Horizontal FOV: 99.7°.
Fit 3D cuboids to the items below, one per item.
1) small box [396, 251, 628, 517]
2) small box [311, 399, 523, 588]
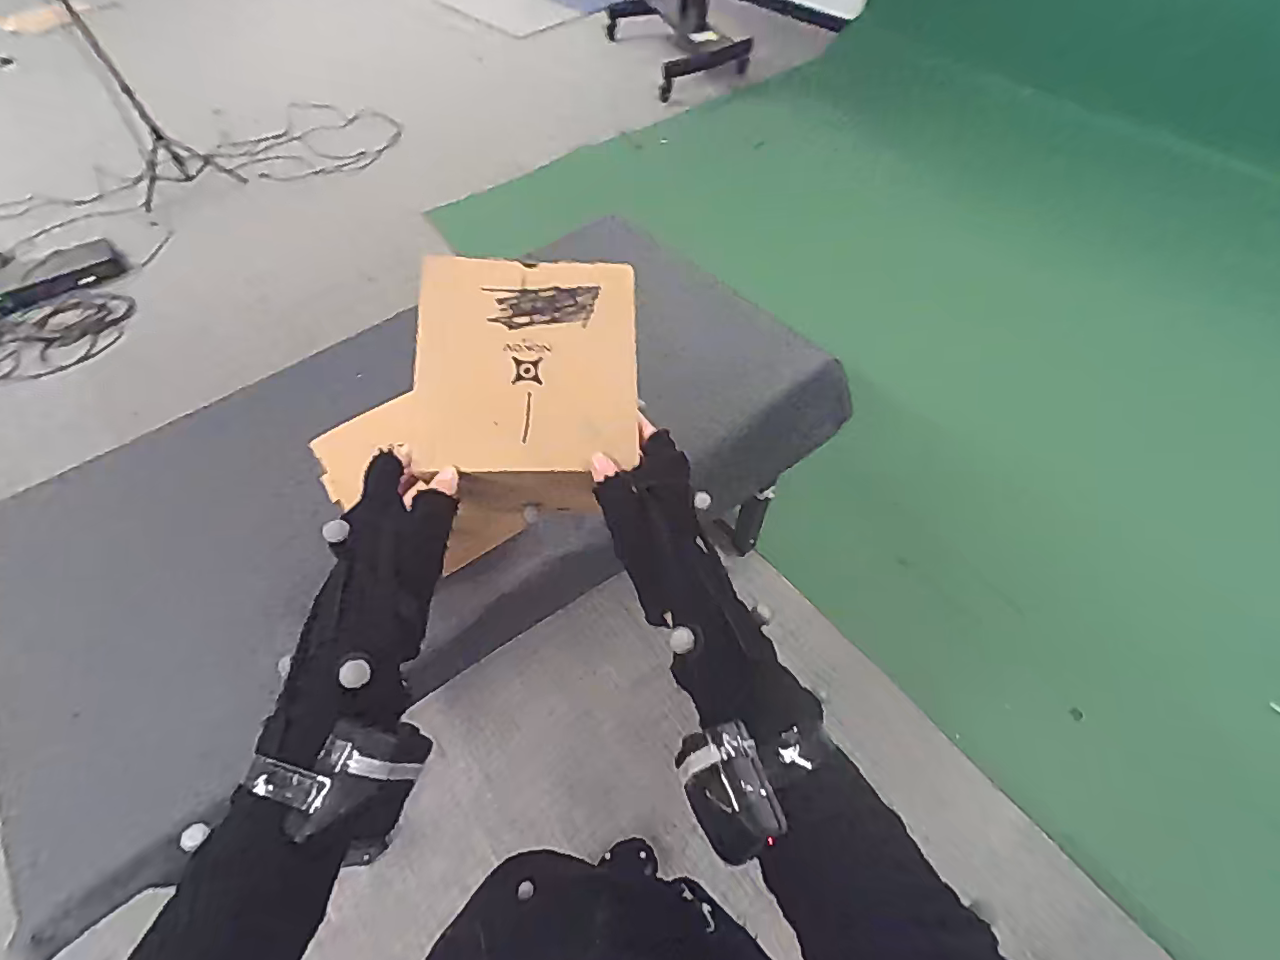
[{"bbox_3d":[-0.107,-0.075,0.484,0.168,0.176,0.179,-6,75,-7],"label":"small box"},{"bbox_3d":[-0.278,0.010,0.704,0.179,0.176,0.168,-32,61,-17],"label":"small box"}]
